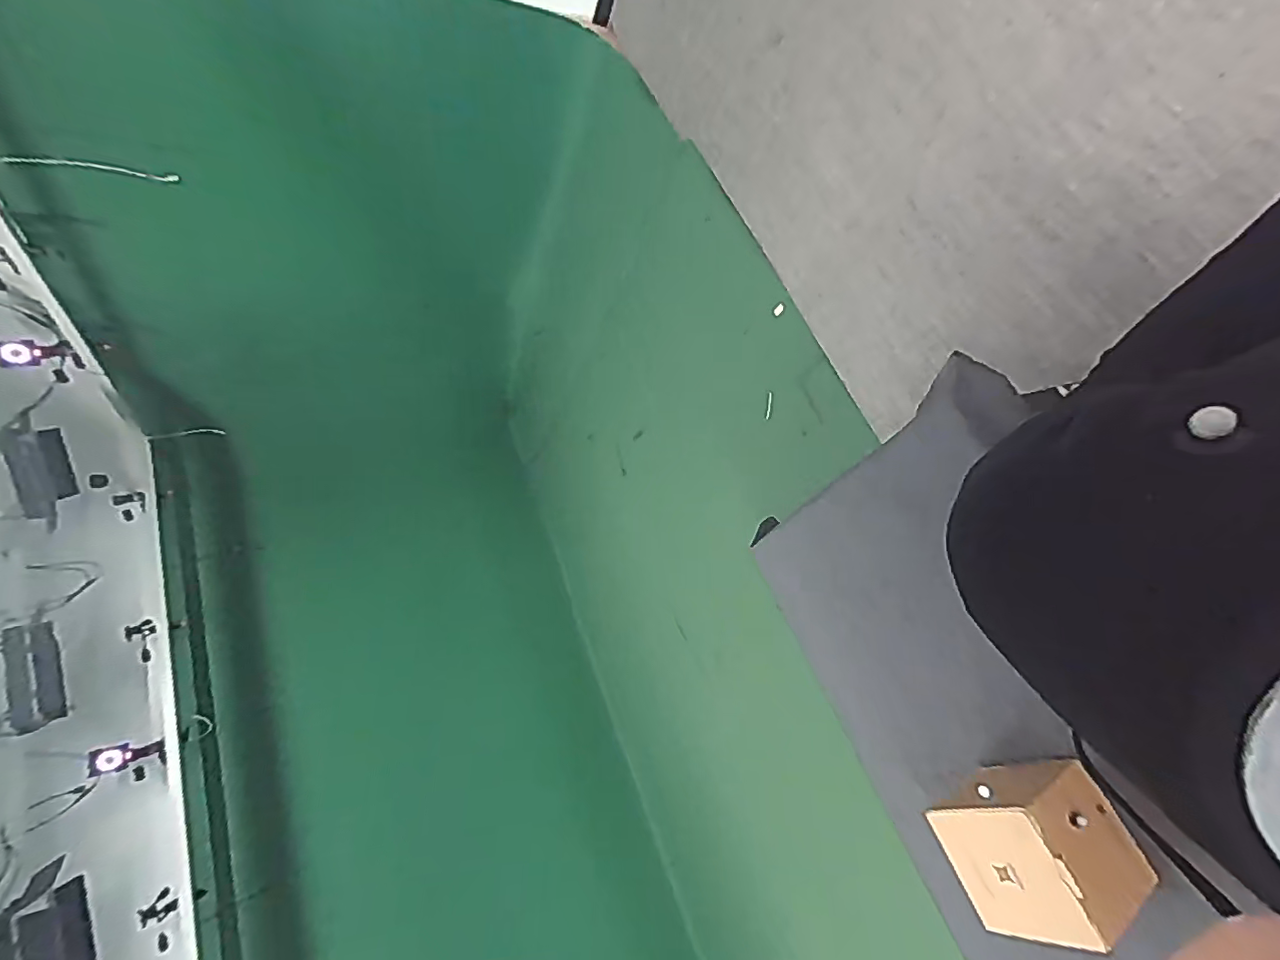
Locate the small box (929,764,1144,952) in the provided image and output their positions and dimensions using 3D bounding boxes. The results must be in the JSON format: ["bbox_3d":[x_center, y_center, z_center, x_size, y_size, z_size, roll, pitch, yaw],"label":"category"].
[{"bbox_3d":[0.584,0.540,0.797,0.168,0.176,0.179,66,149,22],"label":"small box"}]
